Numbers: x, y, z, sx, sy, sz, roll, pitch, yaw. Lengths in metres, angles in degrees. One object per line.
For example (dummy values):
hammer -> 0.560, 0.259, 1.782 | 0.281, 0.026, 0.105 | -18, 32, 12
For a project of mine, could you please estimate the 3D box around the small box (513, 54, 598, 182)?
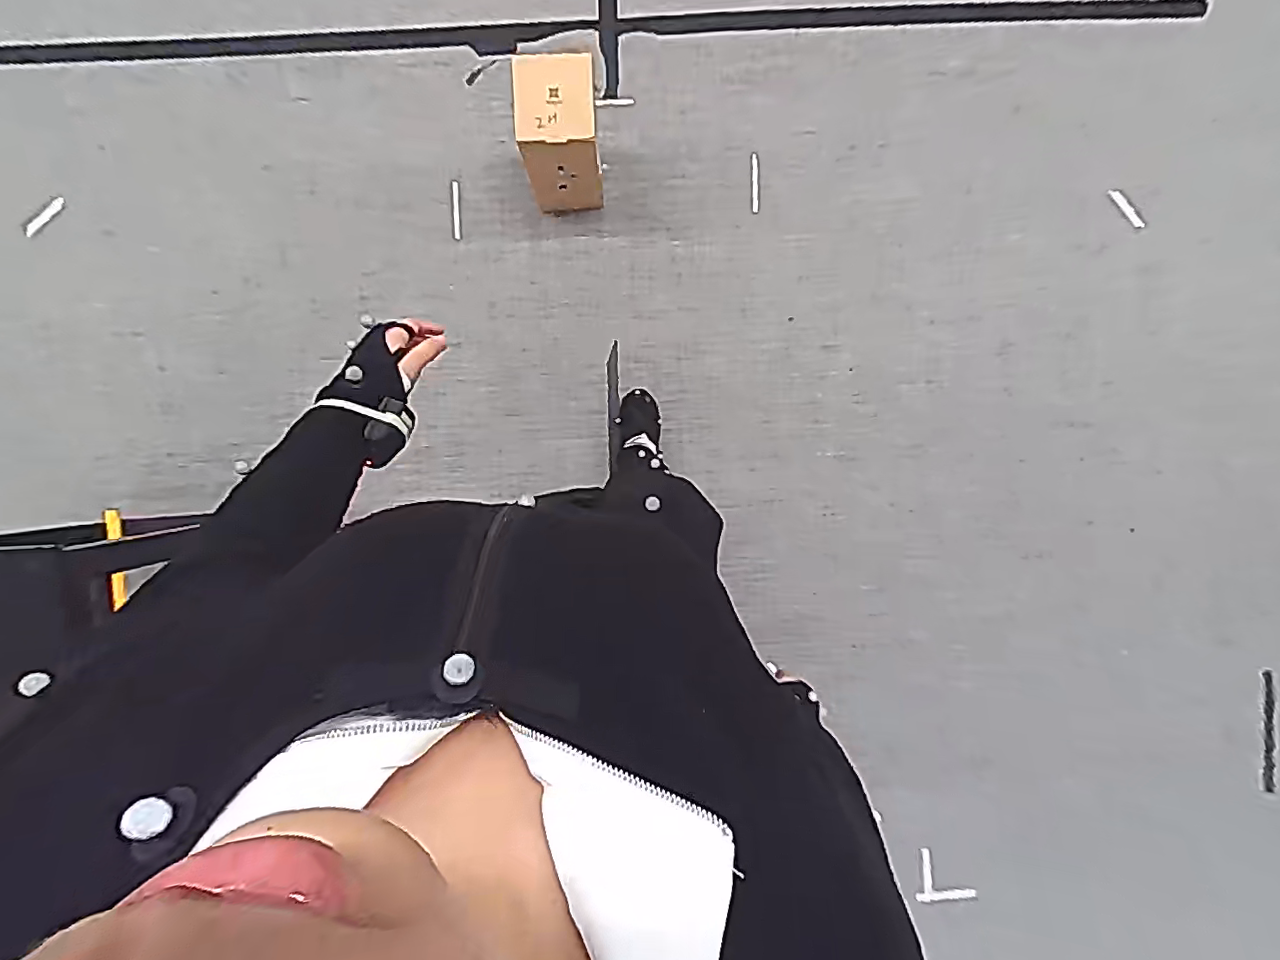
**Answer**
small box -> -0.179, -0.785, 1.186 | 0.168, 0.176, 0.179 | -2, 93, -1

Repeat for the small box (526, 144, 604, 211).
small box -> -0.188, -0.793, 1.350 | 0.179, 0.176, 0.168 | -6, 93, -1
